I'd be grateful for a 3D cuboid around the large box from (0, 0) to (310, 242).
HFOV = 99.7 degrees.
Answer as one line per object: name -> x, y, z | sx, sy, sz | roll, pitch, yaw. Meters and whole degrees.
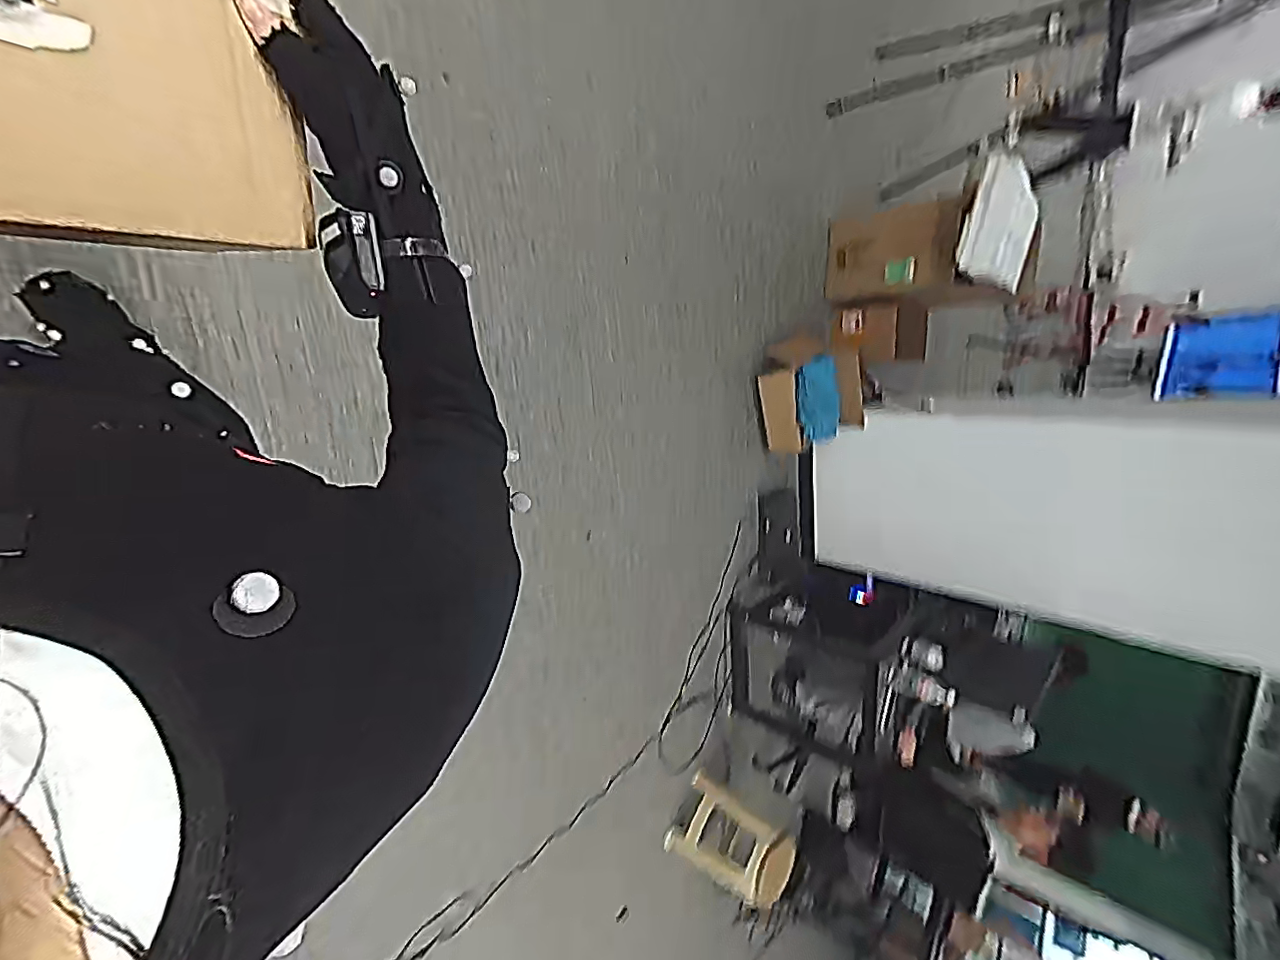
large box -> -0.497, -0.325, 0.326 | 0.408, 0.320, 0.320 | -19, 120, -45
